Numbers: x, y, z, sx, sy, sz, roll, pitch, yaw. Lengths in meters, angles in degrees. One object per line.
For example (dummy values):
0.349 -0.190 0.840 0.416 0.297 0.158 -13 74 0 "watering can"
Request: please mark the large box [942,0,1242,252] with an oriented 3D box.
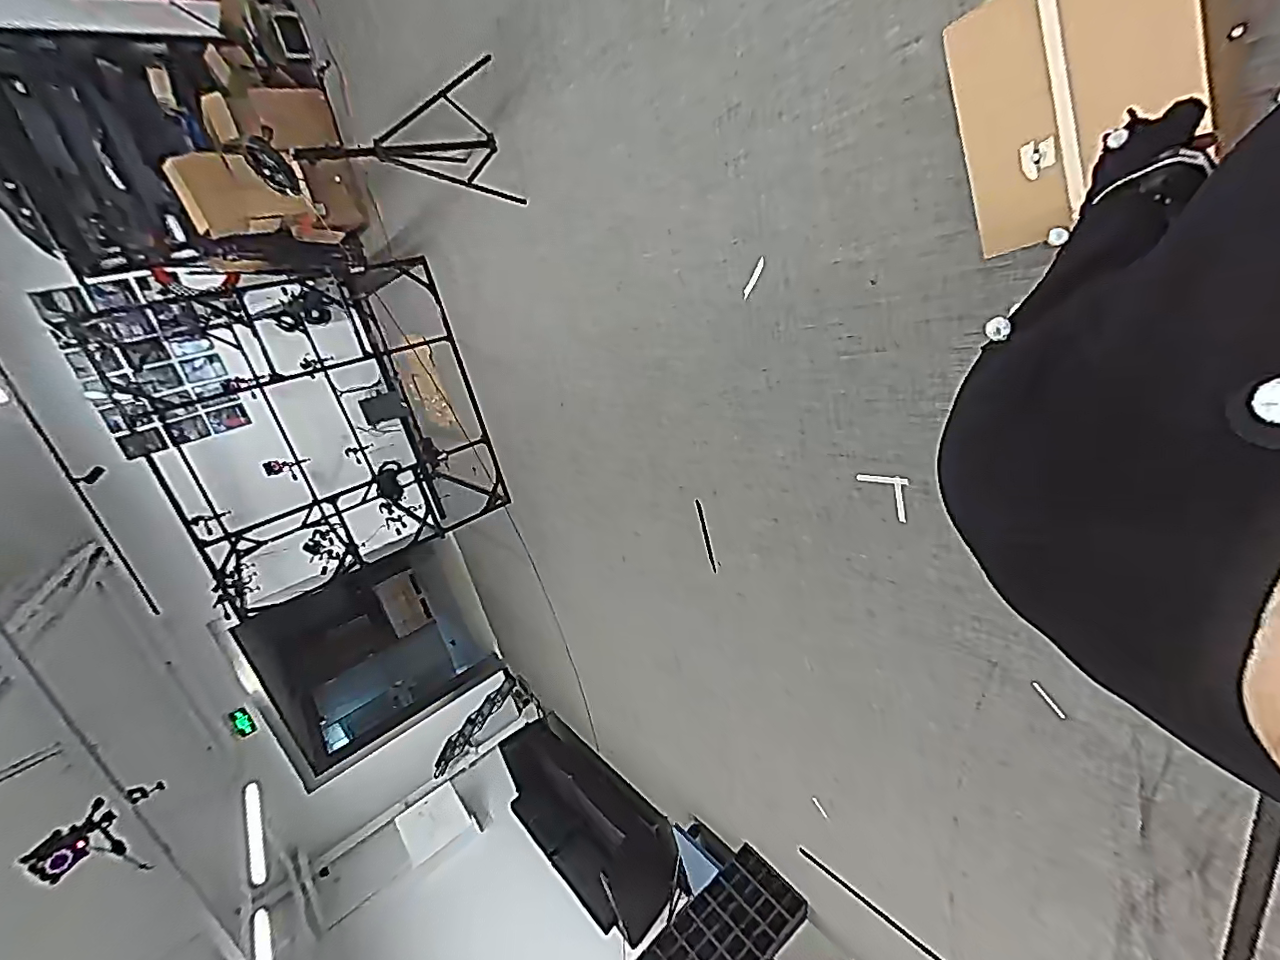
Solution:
0.801 -0.683 0.957 0.320 0.320 0.408 0 114 57 "large box"
